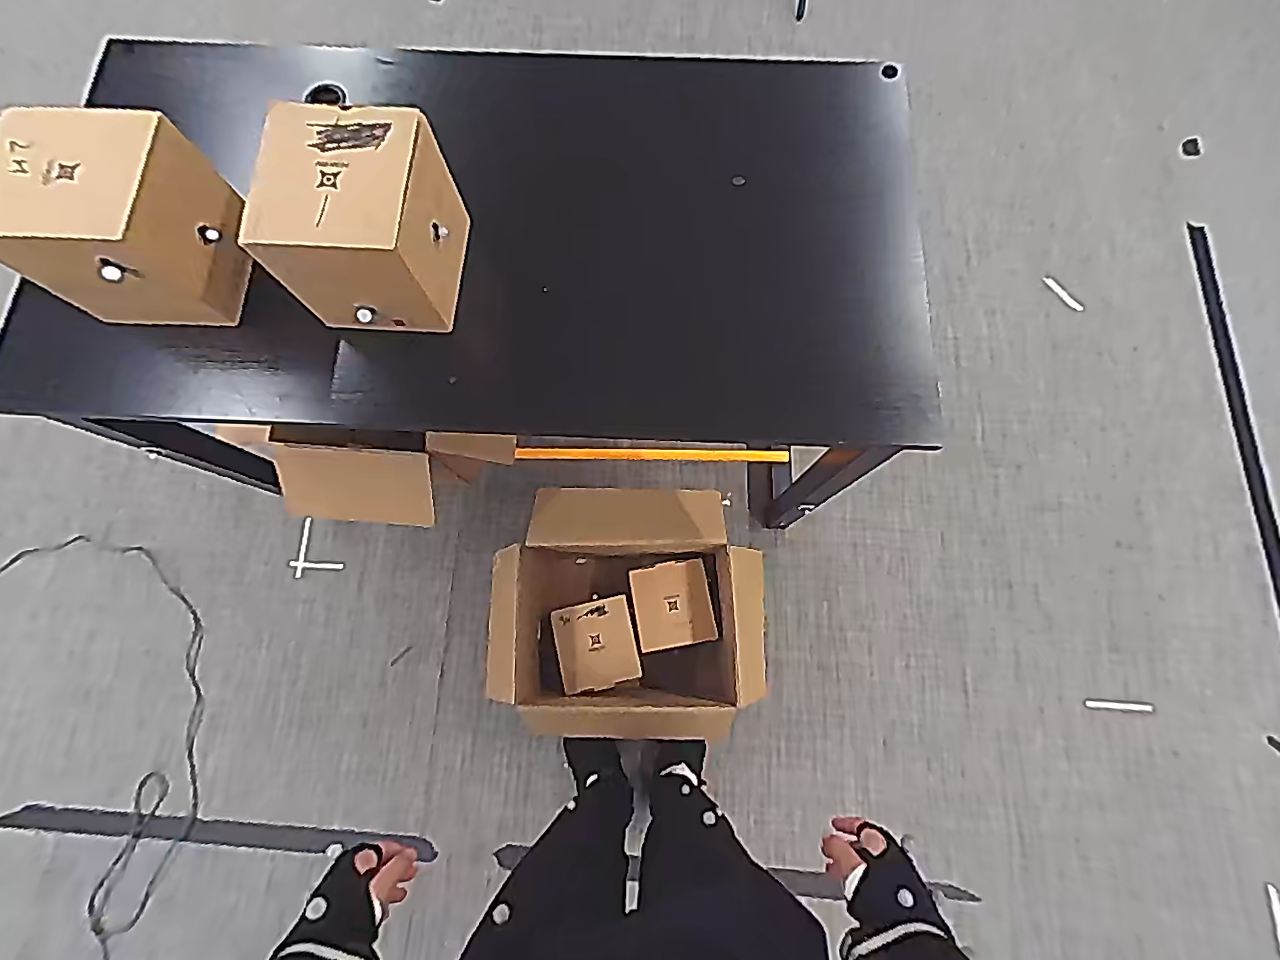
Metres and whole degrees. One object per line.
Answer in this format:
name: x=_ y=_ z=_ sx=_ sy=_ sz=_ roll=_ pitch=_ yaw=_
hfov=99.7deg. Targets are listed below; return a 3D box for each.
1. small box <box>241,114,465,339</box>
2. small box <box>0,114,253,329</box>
small box: x=-0.322 y=-0.293 z=0.649 sx=0.168 sy=0.176 sz=0.179 roll=3 pitch=76 yaw=1
small box: x=-0.607 y=-0.296 z=0.649 sx=0.179 sy=0.176 sz=0.168 roll=2 pitch=75 yaw=0
